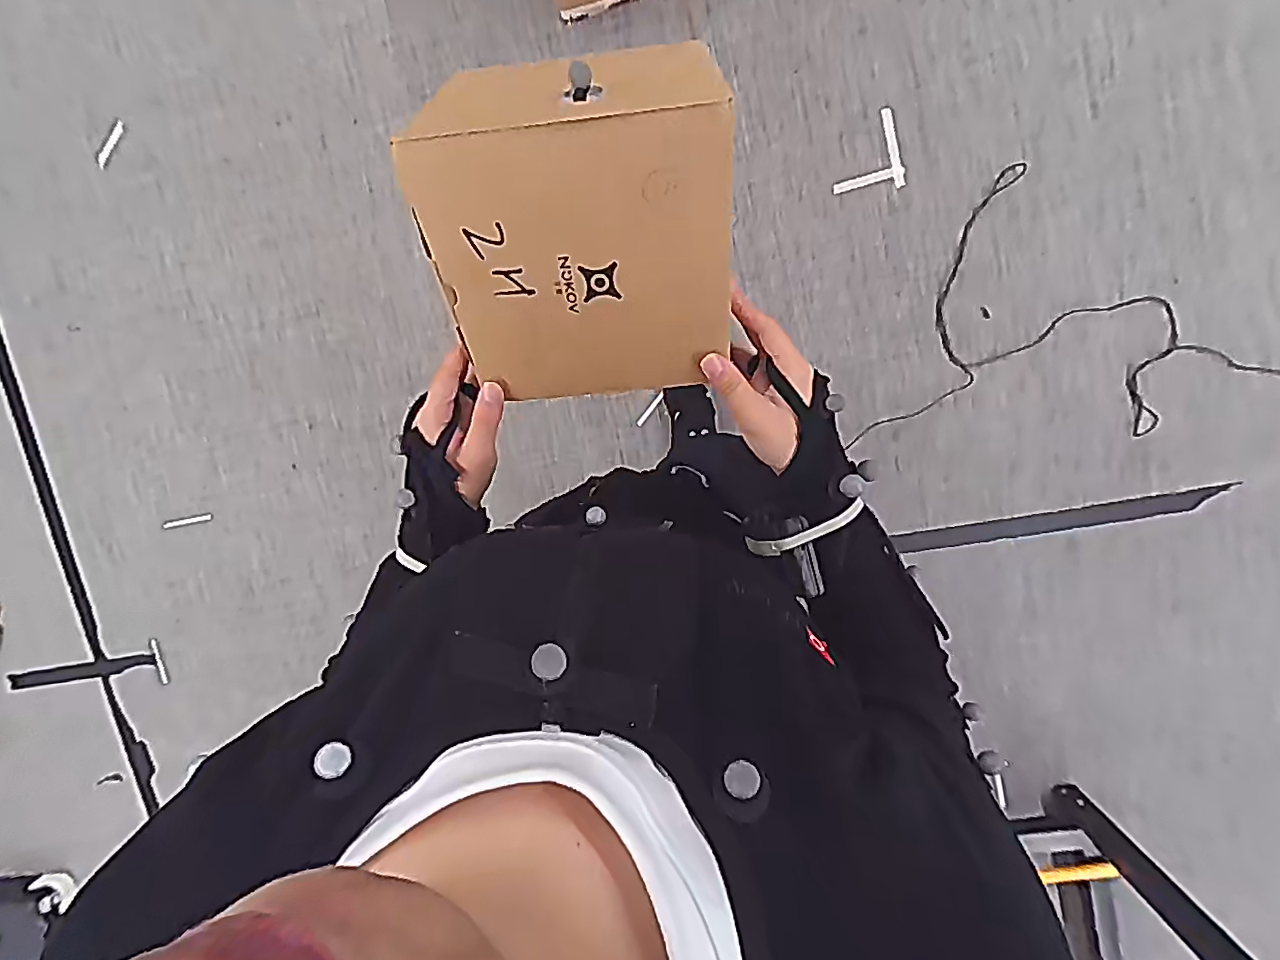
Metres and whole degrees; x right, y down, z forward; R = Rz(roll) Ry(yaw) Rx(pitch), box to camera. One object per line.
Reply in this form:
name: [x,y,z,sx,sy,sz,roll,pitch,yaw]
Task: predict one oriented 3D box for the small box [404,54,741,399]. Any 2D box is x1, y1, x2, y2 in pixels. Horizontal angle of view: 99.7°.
small box: [-0.031,-0.179,0.382,0.179,0.176,0.168,-4,136,3]
